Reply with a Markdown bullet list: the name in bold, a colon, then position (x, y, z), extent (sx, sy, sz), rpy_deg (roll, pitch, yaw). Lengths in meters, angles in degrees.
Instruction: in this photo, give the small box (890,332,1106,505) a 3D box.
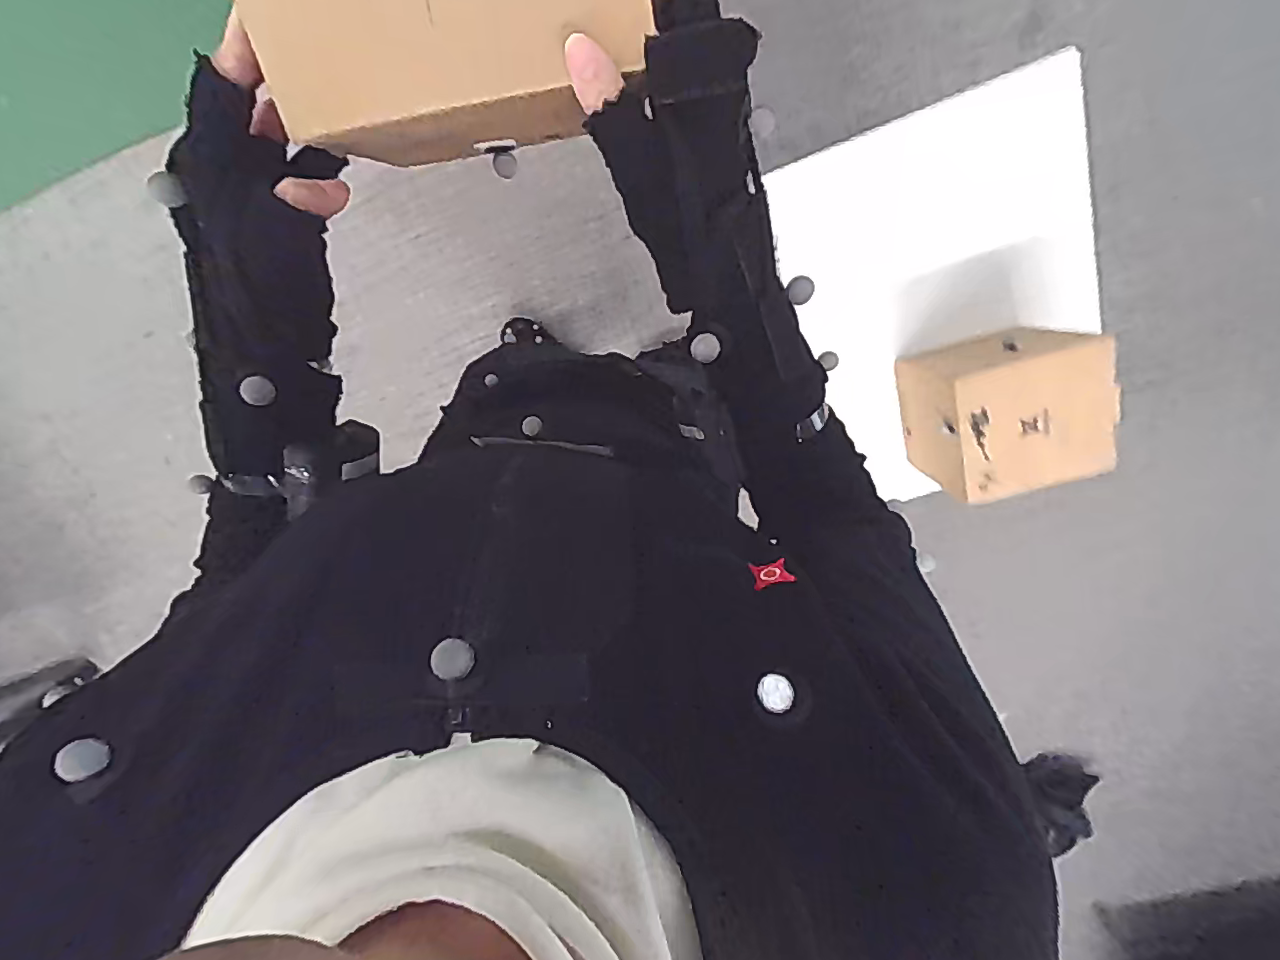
- **small box**: position (0.460, -0.090, 0.714), extent (0.179, 0.176, 0.168), rpy_deg (-15, 108, 6)
